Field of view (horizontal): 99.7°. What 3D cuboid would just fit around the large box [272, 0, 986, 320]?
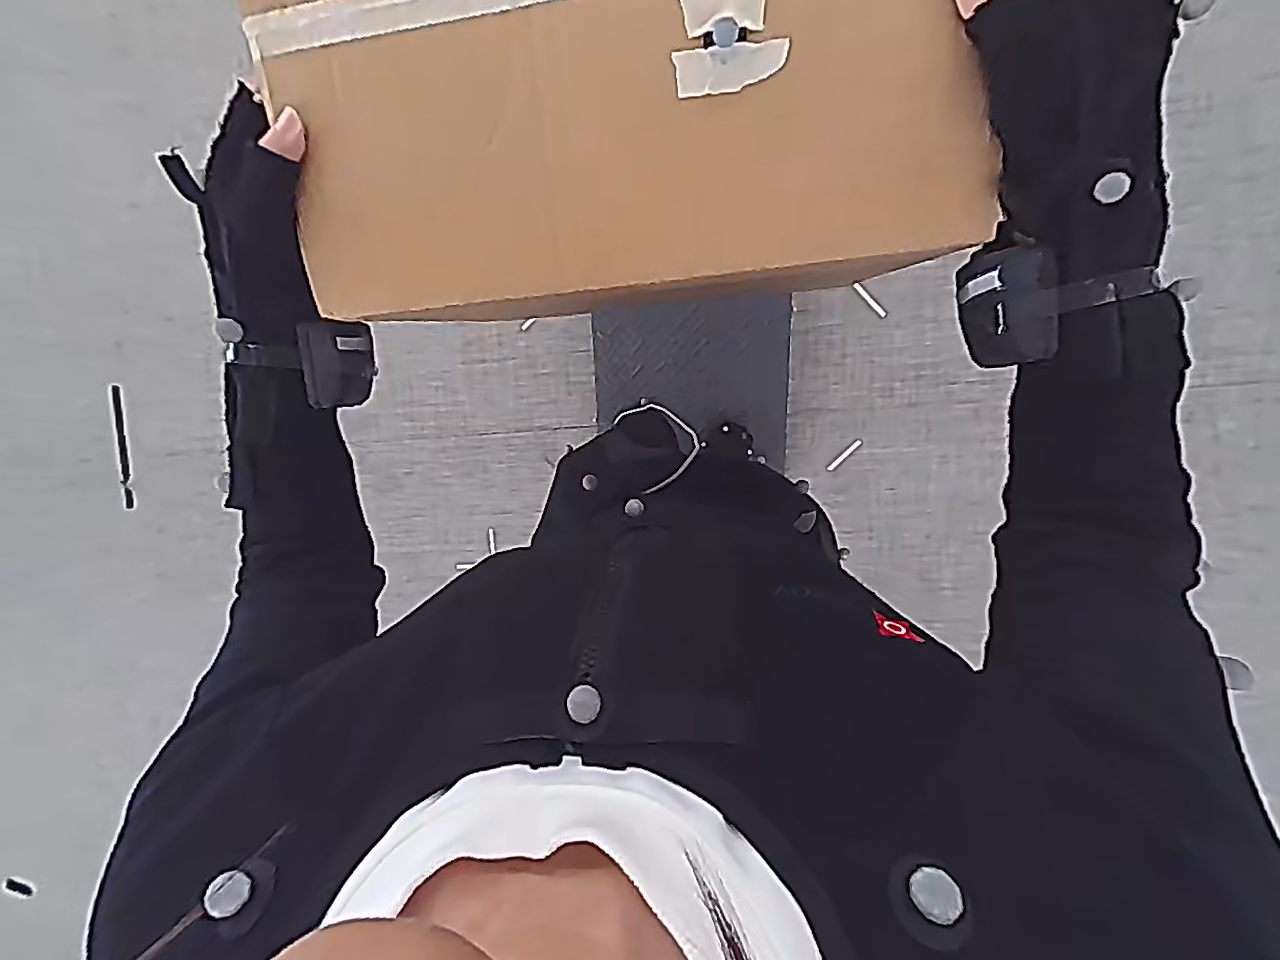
[{"bbox_3d":[-0.004,-0.315,0.439,0.408,0.320,0.320,-4,106,8],"label":"large box"}]

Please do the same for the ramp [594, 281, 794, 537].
[{"bbox_3d":[0.131,-0.320,1.357,0.509,0.206,0.991,-1,97,9],"label":"ramp"}]
